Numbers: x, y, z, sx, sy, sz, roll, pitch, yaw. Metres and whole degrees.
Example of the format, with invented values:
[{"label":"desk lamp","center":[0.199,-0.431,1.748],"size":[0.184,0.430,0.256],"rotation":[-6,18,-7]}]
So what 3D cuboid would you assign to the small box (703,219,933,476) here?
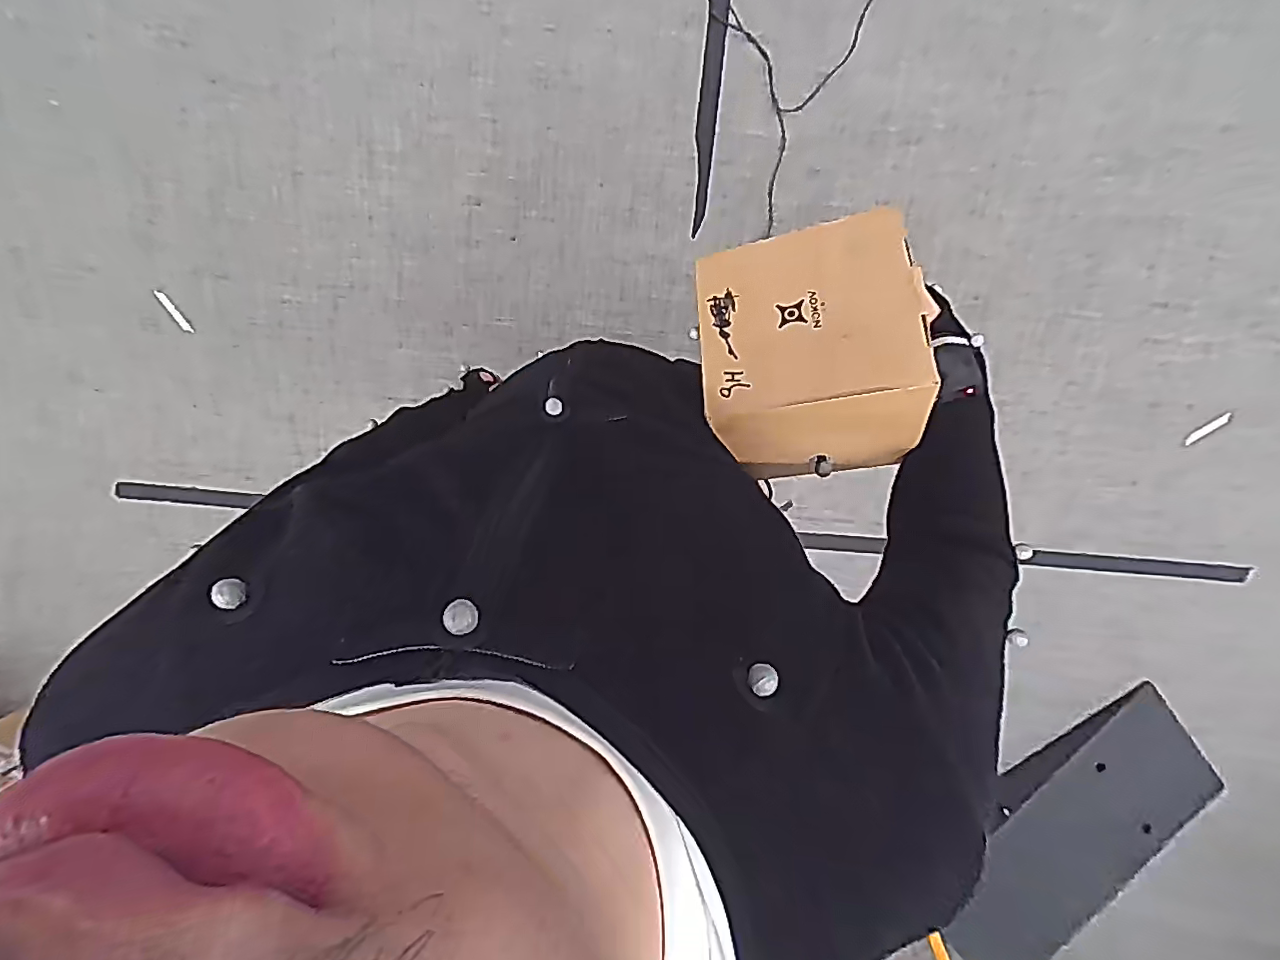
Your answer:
[{"label":"small box","center":[0.164,-0.113,0.531],"size":[0.179,0.176,0.168],"rotation":[-6,68,17]}]
